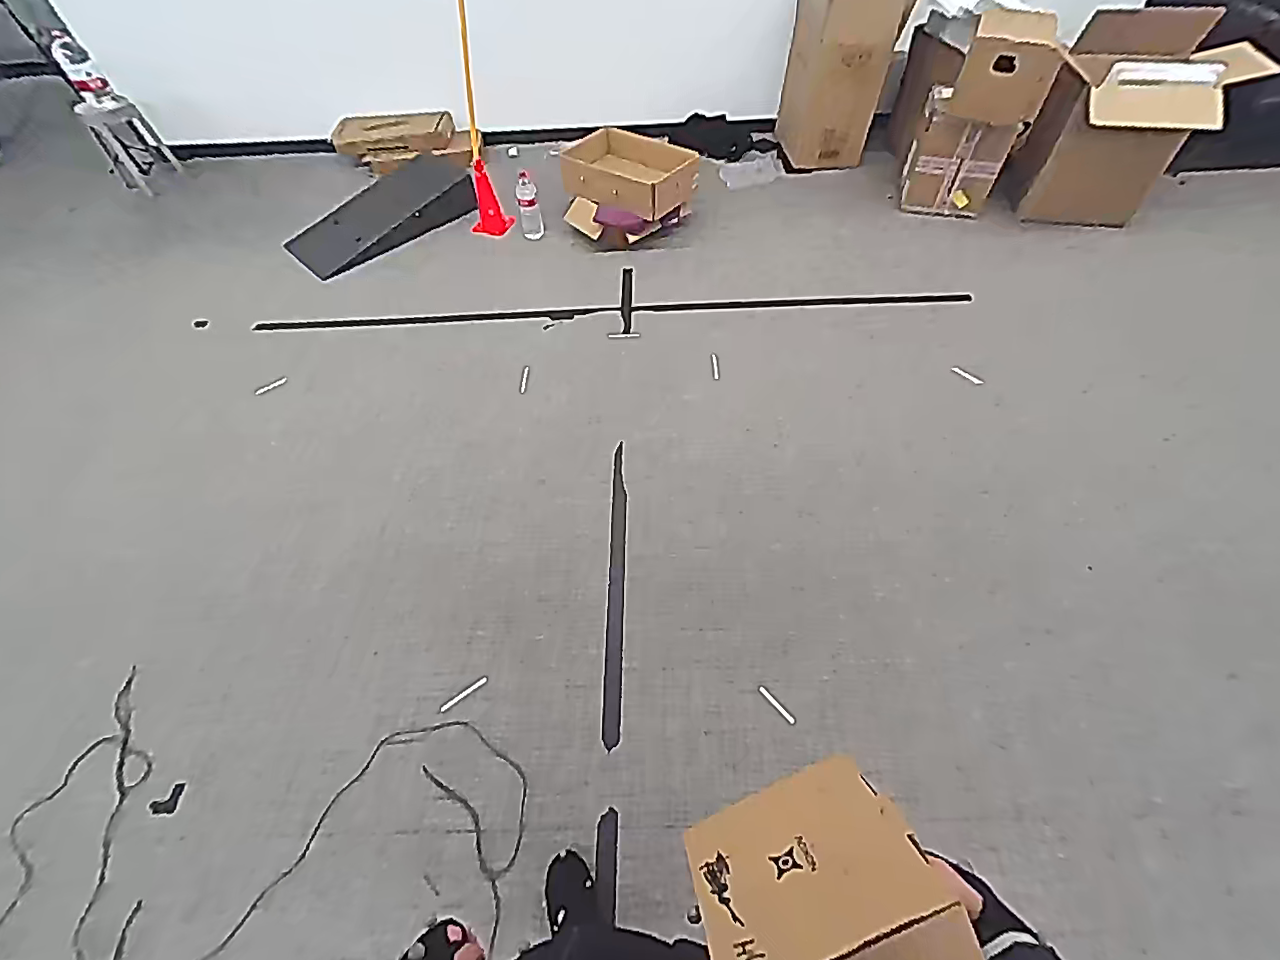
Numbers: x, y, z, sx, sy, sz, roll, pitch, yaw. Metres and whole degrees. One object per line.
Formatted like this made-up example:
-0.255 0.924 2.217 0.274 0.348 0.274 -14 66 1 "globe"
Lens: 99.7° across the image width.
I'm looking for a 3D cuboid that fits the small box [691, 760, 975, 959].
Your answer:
0.164 0.389 0.458 0.179 0.168 0.176 -23 96 -3 "small box"
